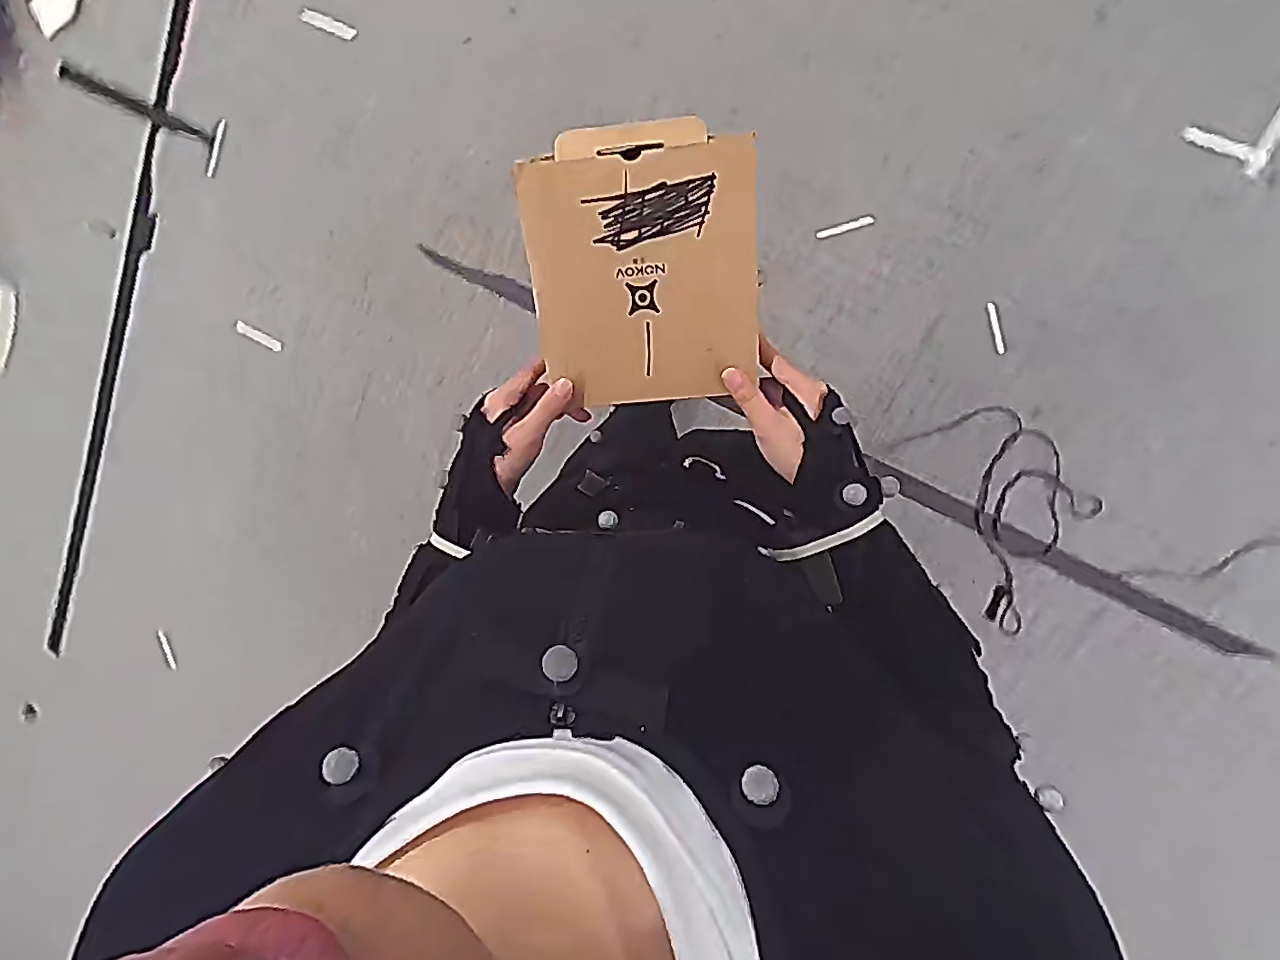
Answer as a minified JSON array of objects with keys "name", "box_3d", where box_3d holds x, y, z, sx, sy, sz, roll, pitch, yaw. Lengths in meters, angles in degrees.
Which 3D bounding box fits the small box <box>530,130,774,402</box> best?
[{"name":"small box","box_3d":[0.016,-0.176,0.461,0.168,0.176,0.179,-2,115,6]}]
